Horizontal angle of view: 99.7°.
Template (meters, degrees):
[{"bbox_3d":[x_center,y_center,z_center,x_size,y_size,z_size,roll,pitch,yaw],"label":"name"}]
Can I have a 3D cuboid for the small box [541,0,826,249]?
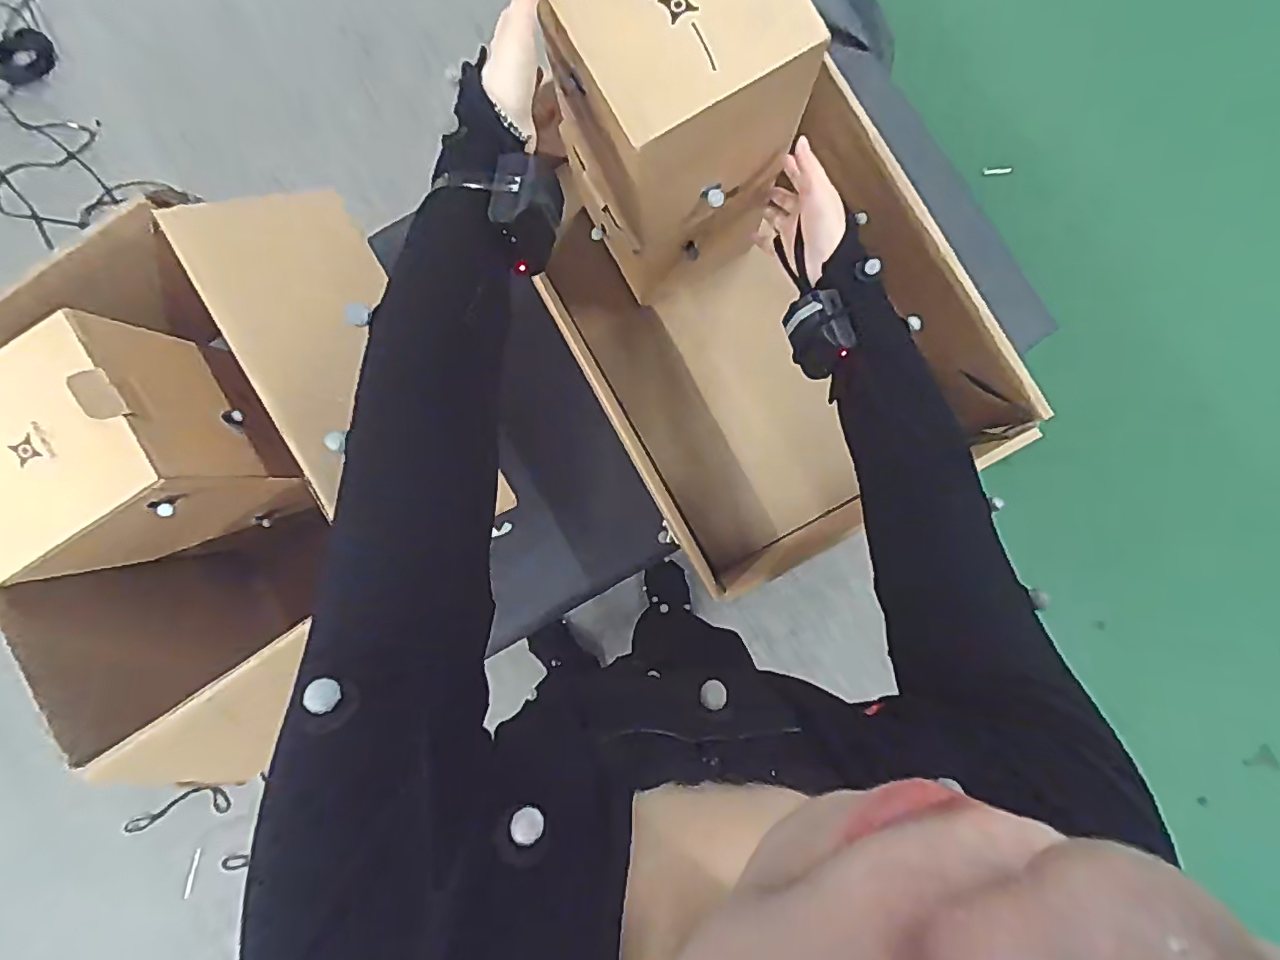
[{"bbox_3d":[0.029,-0.348,0.483,0.168,0.176,0.179,-29,88,1],"label":"small box"}]
